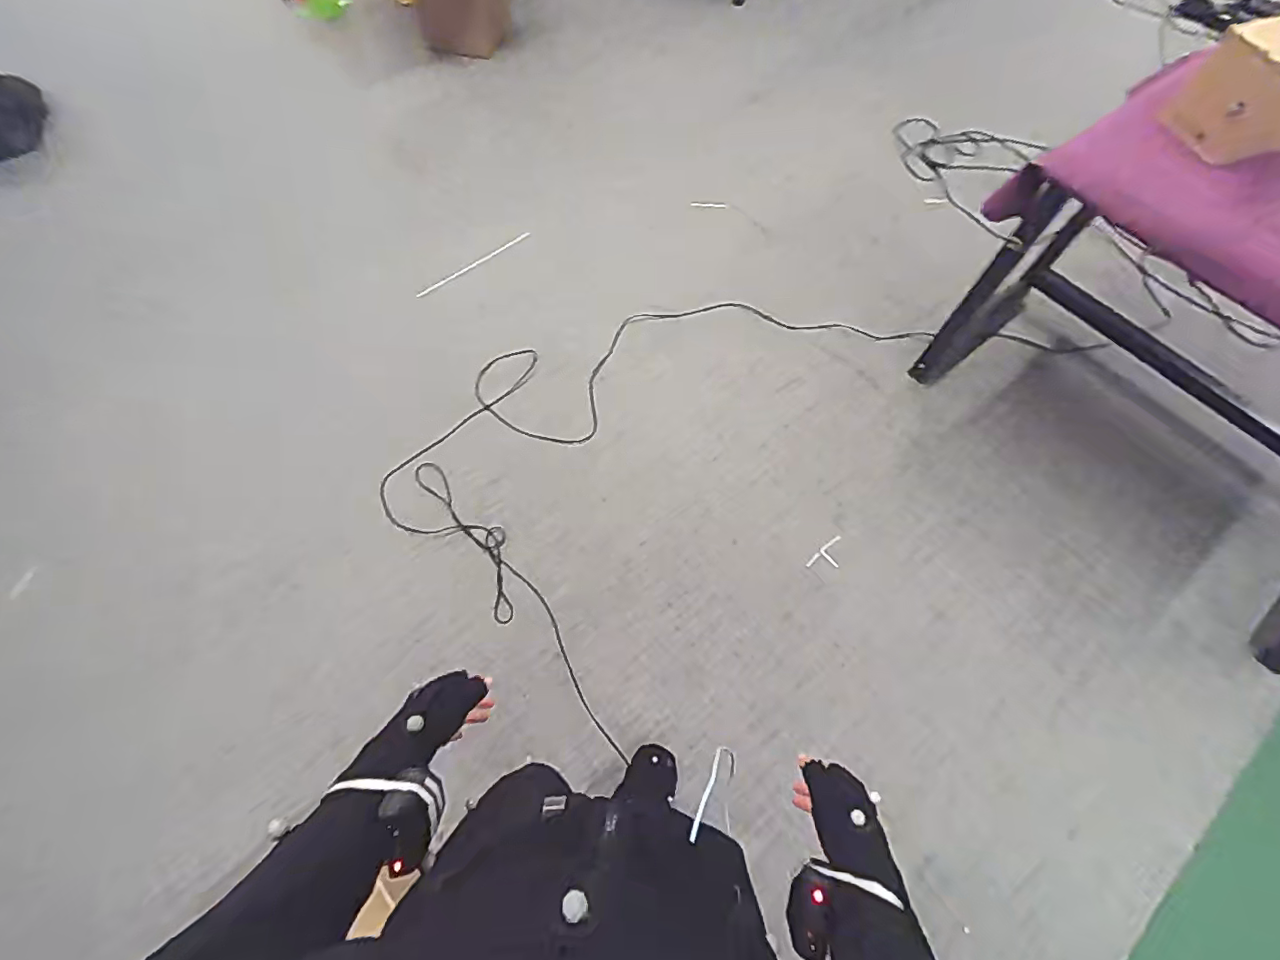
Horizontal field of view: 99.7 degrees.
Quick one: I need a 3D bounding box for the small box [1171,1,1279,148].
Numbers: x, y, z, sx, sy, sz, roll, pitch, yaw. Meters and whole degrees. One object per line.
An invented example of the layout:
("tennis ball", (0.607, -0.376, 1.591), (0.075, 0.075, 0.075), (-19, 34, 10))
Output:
("small box", (1.184, -0.768, 1.028), (0.179, 0.176, 0.168), (-18, 67, -9))
